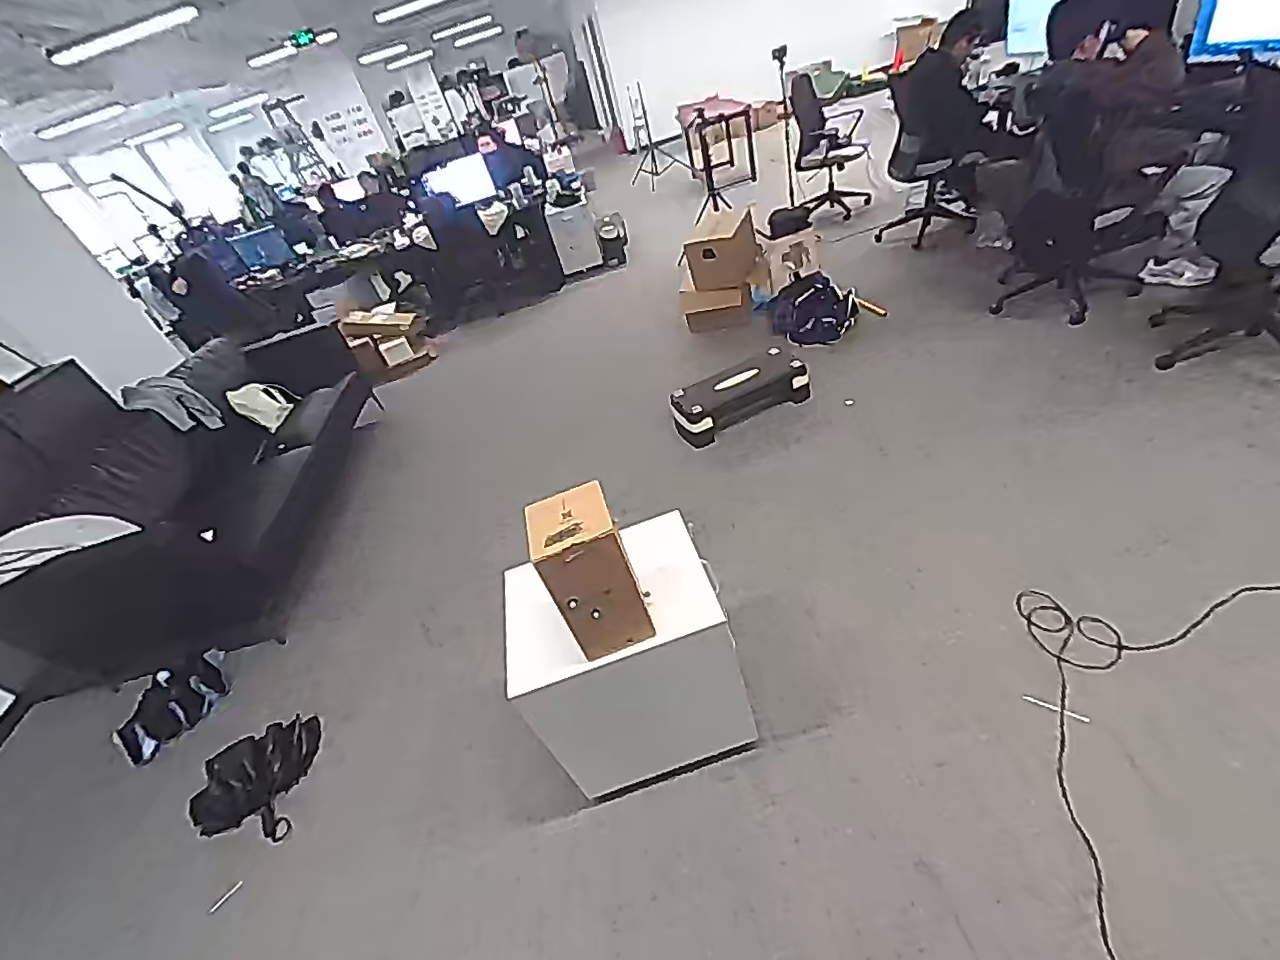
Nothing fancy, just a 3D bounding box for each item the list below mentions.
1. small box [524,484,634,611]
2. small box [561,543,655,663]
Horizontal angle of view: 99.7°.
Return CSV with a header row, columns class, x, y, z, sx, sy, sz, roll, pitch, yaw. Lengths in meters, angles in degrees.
class,x,y,z,sx,sy,sz,roll,pitch,yaw
small box,-0.124,0.144,1.111,0.168,0.176,0.179,-21,35,-3
small box,-0.080,0.270,1.208,0.168,0.176,0.179,-22,35,-3
